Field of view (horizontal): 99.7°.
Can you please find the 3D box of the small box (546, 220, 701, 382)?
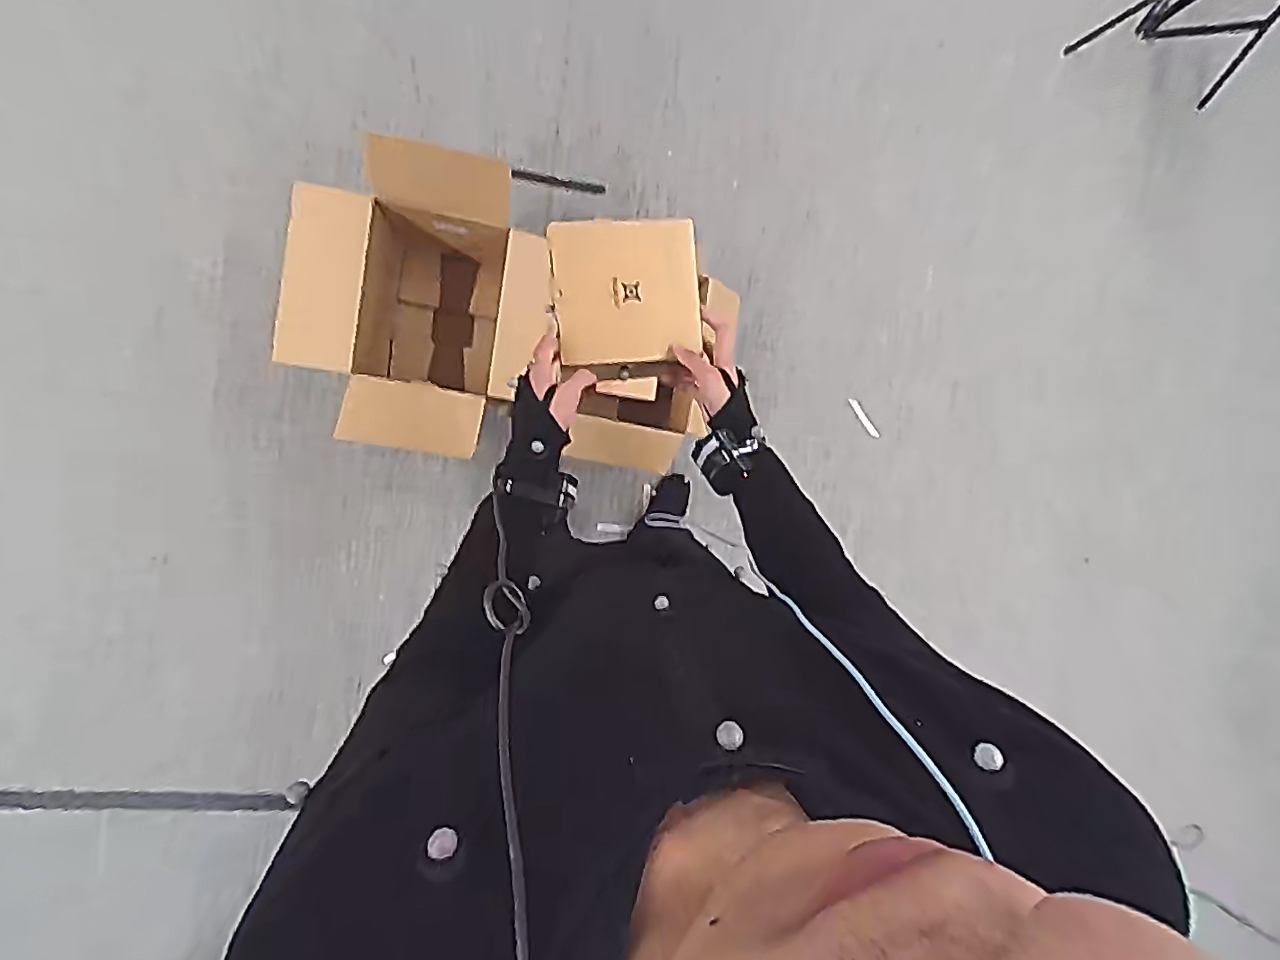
[{"bbox_3d":[-0.029,-0.227,0.716,0.179,0.176,0.168,-6,94,-7],"label":"small box"}]
